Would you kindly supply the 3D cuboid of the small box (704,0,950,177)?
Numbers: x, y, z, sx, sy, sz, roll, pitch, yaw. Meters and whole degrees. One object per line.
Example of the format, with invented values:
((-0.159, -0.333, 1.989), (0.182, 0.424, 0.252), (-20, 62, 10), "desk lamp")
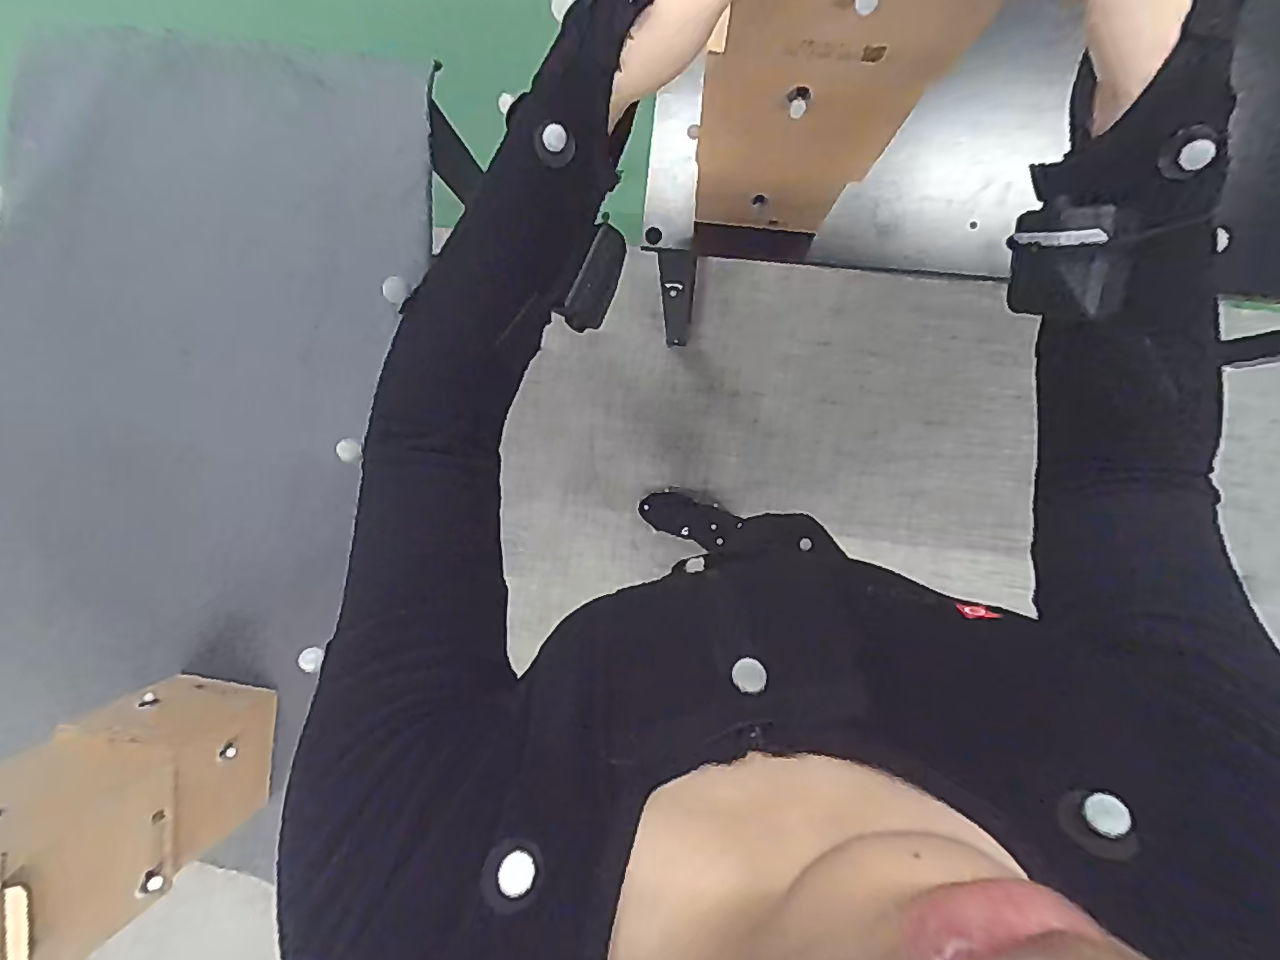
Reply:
((0.156, -0.390, 0.472), (0.179, 0.176, 0.168), (7, 94, 4), "small box")

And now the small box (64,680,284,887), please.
((-0.624, 0.396, 0.738), (0.168, 0.176, 0.179), (7, 94, 7), "small box")

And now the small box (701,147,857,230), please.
((0.164, -0.416, 0.633), (0.168, 0.176, 0.179), (7, 93, 3), "small box")
